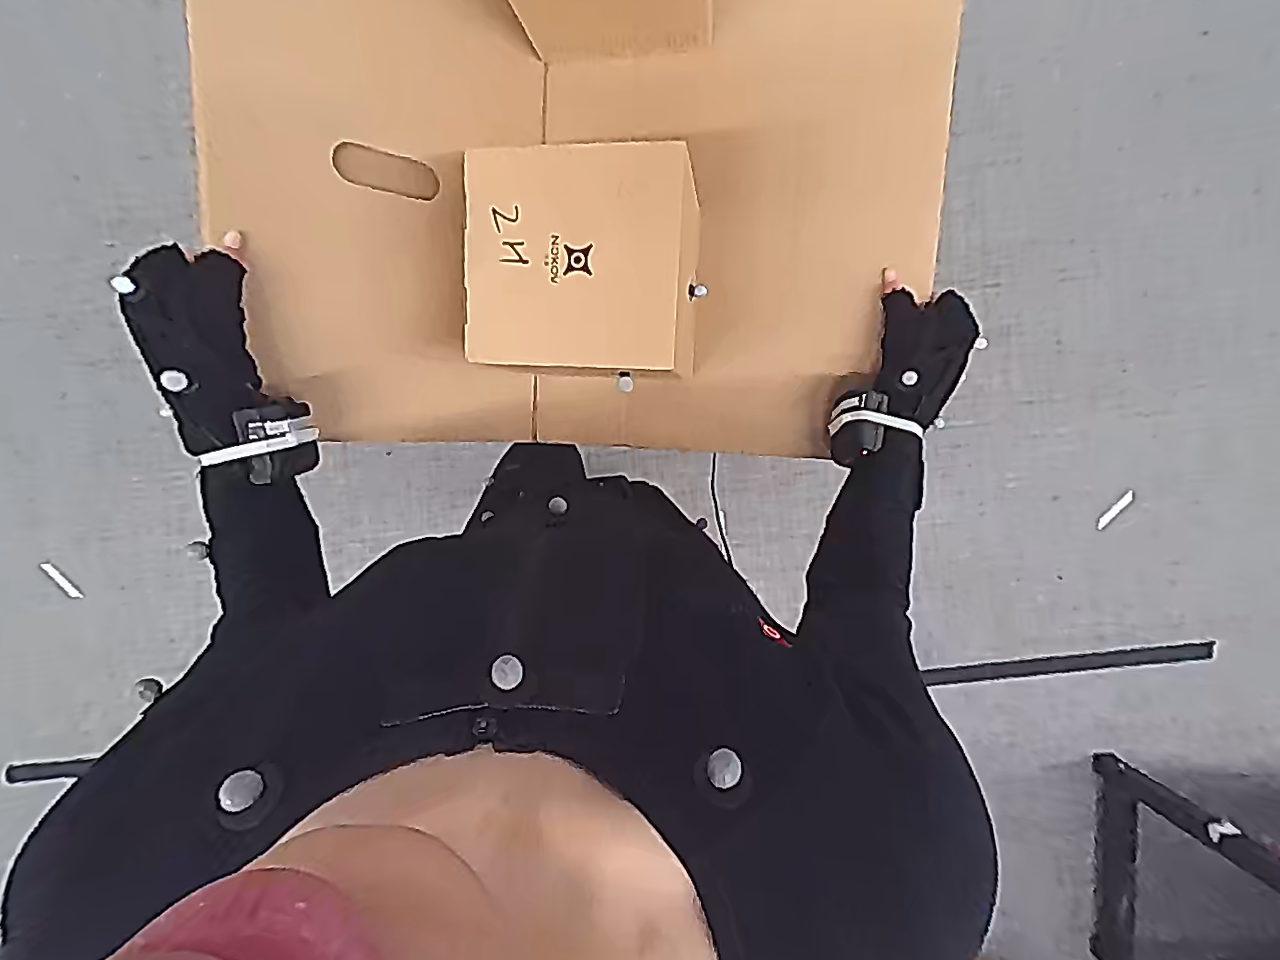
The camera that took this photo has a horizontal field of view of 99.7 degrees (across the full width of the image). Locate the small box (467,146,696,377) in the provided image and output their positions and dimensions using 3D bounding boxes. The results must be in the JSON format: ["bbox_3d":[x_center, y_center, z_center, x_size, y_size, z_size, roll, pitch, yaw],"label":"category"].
[{"bbox_3d":[-0.042,-0.187,0.507,0.179,0.176,0.168,4,97,10],"label":"small box"}]
